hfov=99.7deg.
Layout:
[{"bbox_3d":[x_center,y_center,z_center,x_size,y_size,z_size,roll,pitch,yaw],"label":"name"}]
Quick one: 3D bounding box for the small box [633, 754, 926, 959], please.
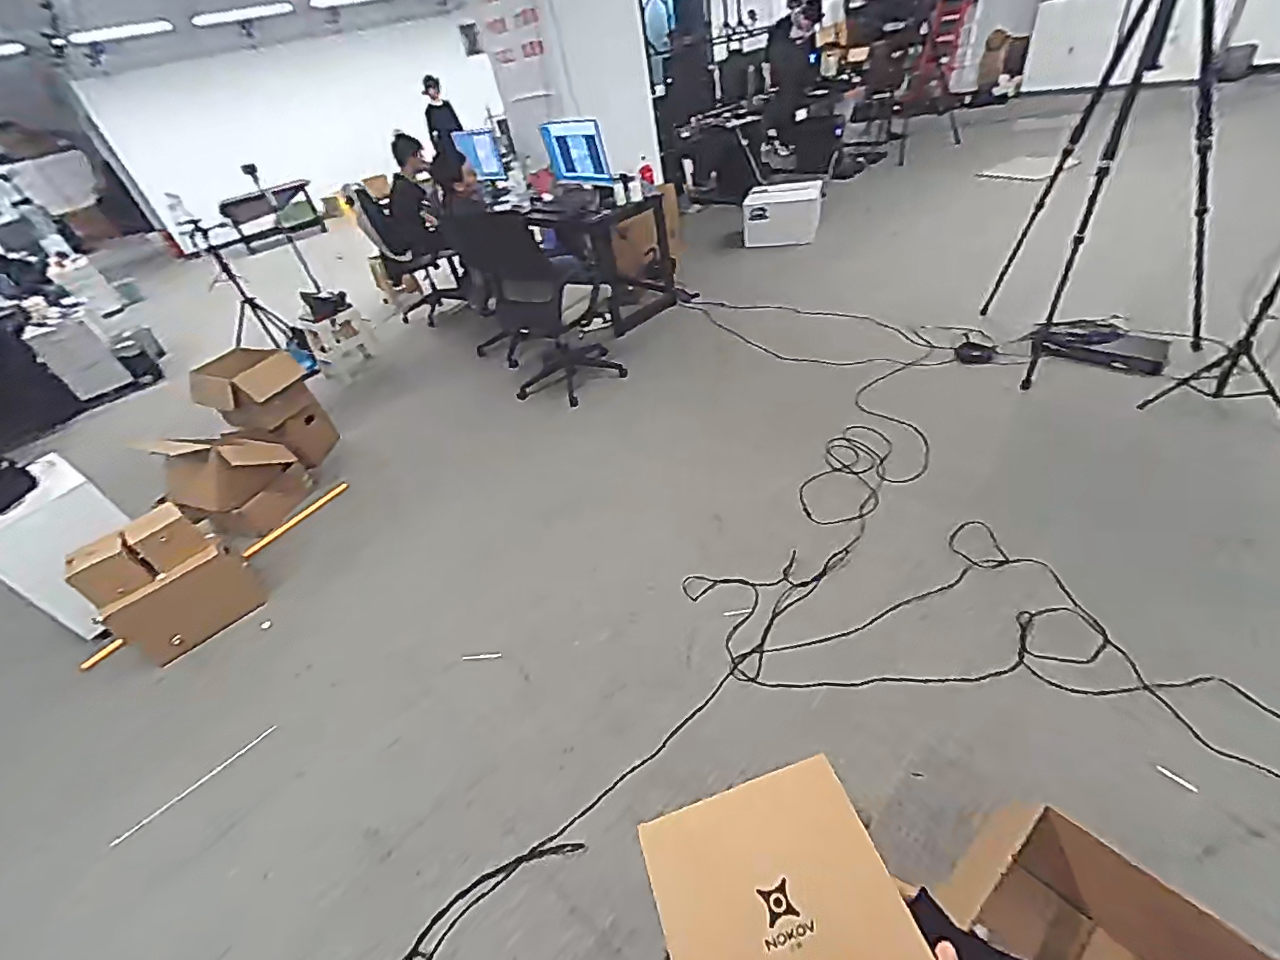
[{"bbox_3d":[0.105,0.358,0.424,0.168,0.176,0.179,-19,43,-5],"label":"small box"}]
